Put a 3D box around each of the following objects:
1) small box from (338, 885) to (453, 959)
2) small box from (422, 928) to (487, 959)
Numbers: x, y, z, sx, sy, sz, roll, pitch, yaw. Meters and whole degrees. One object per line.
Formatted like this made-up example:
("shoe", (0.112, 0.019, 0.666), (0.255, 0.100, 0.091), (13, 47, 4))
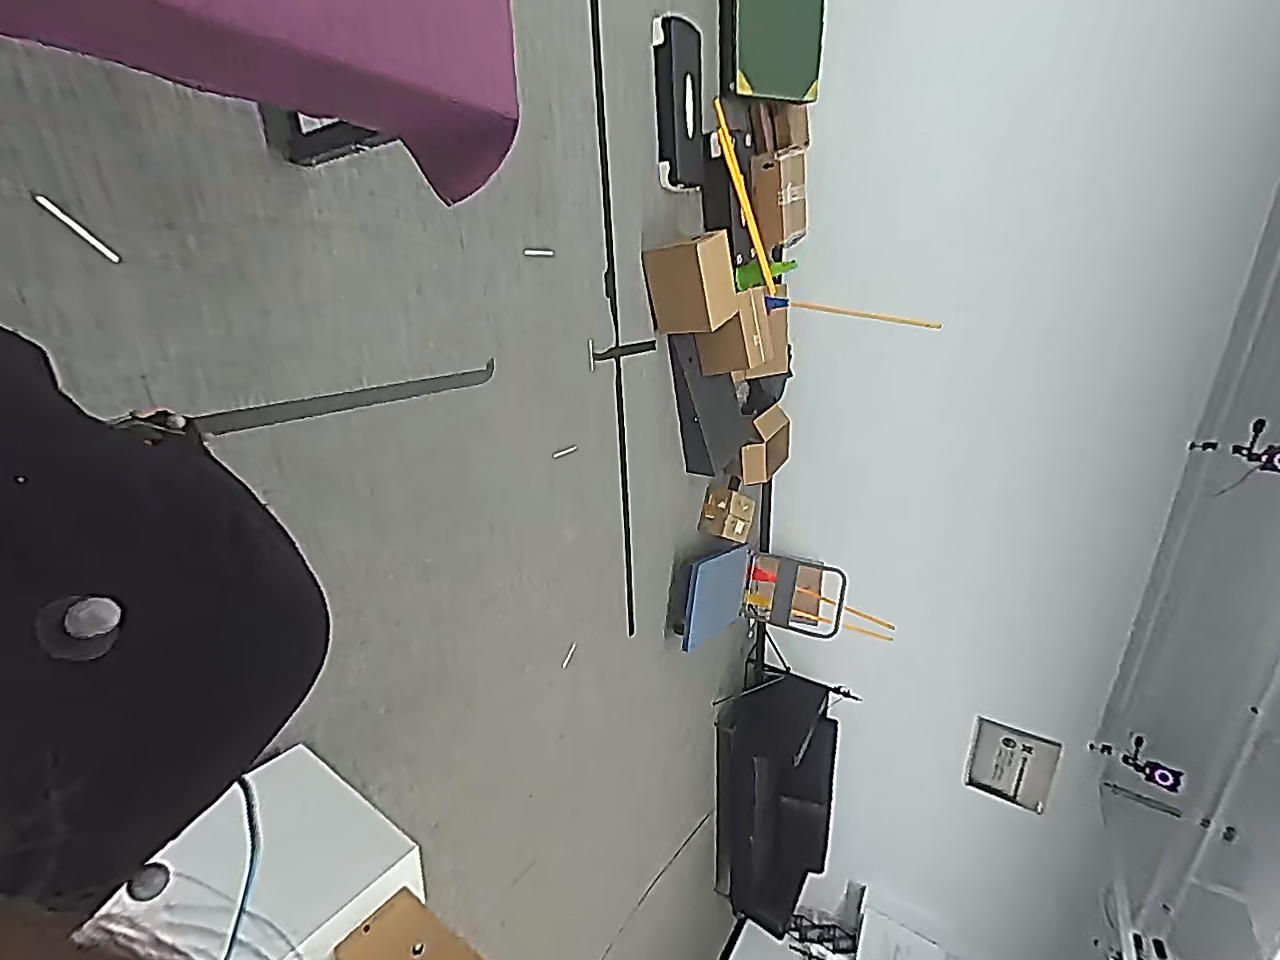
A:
("small box", (-0.517, 1.029, 1.154), (0.168, 0.176, 0.179), (-20, 117, -54))
("small box", (-0.380, 1.054, 1.065), (0.179, 0.176, 0.168), (-20, 116, -53))
